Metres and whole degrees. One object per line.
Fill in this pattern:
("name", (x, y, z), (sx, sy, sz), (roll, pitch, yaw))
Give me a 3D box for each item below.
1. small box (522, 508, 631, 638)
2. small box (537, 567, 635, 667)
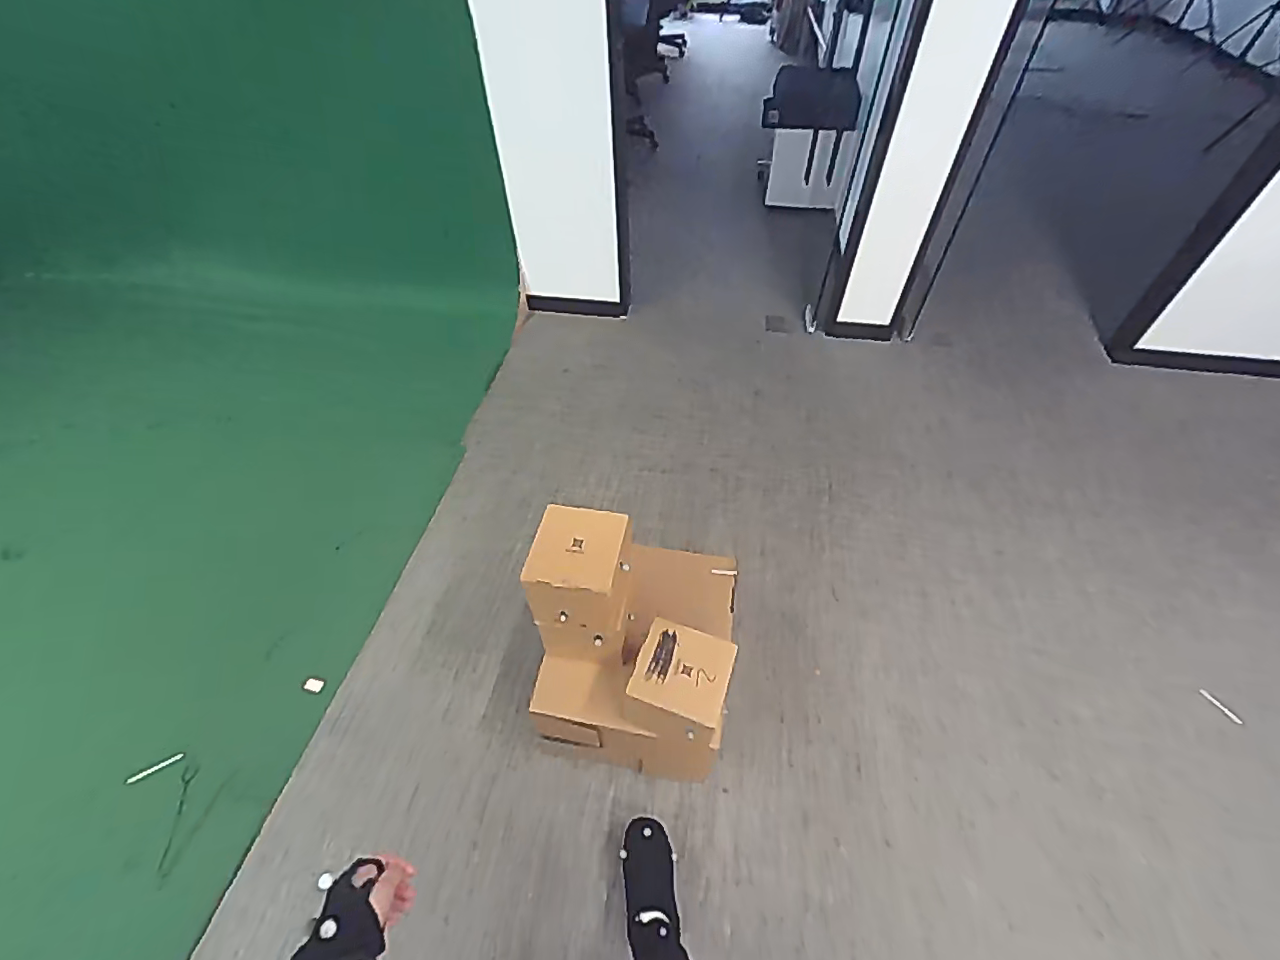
("small box", (-0.114, 0.183, 1.059), (0.168, 0.176, 0.179), (8, 49, 8))
("small box", (-0.108, 0.291, 1.180), (0.179, 0.176, 0.168), (6, 48, 7))
